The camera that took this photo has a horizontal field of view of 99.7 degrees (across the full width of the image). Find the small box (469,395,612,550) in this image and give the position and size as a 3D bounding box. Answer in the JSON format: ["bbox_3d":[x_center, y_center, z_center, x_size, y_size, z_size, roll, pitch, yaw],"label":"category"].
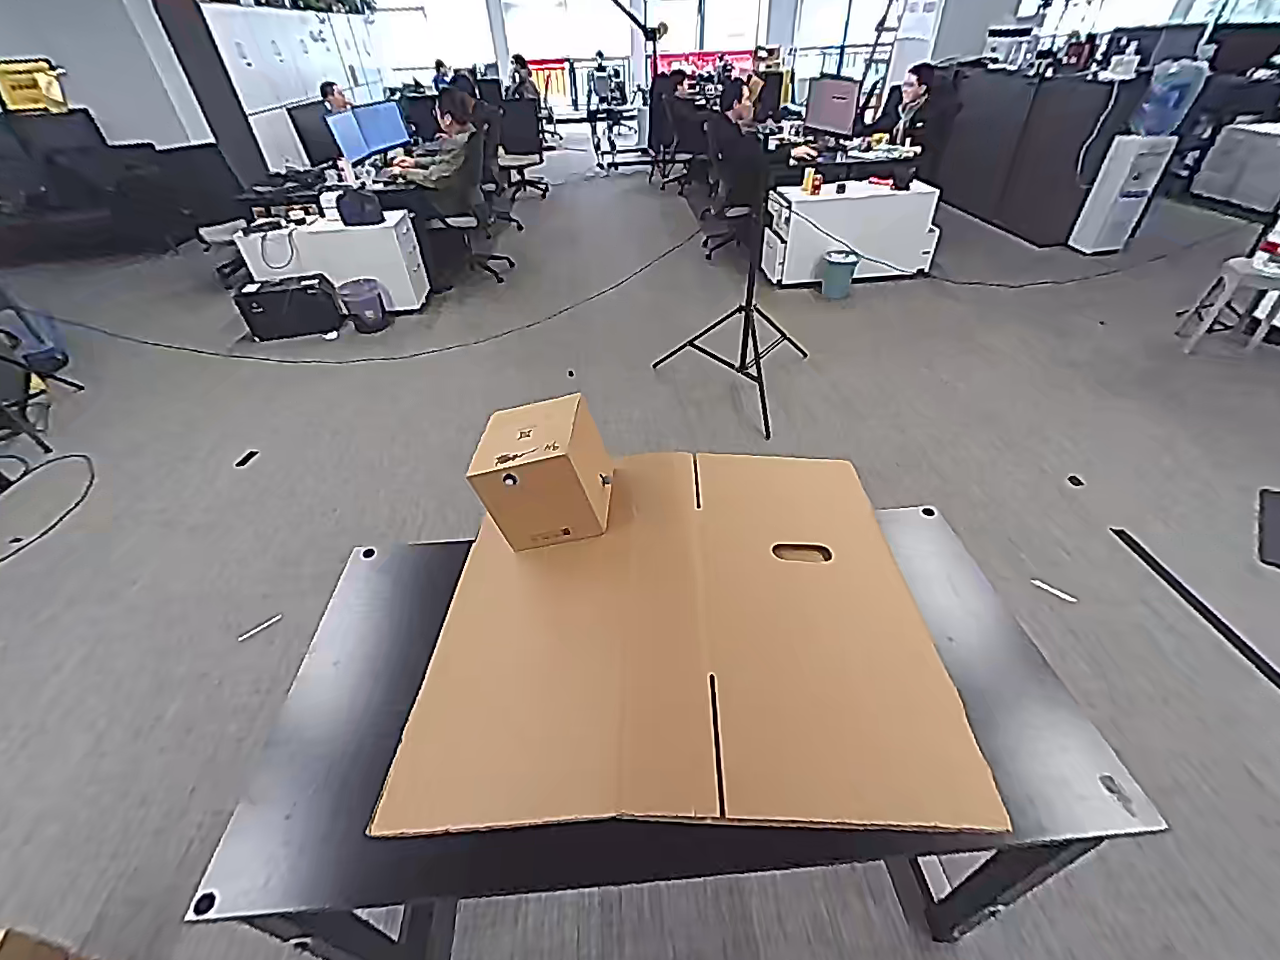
[{"bbox_3d":[-0.151,-0.012,0.896,0.168,0.176,0.179,-13,37,12],"label":"small box"}]

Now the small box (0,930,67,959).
[{"bbox_3d":[-1.189,0.934,0.947,0.168,0.176,0.179,-8,39,-8],"label":"small box"}]
